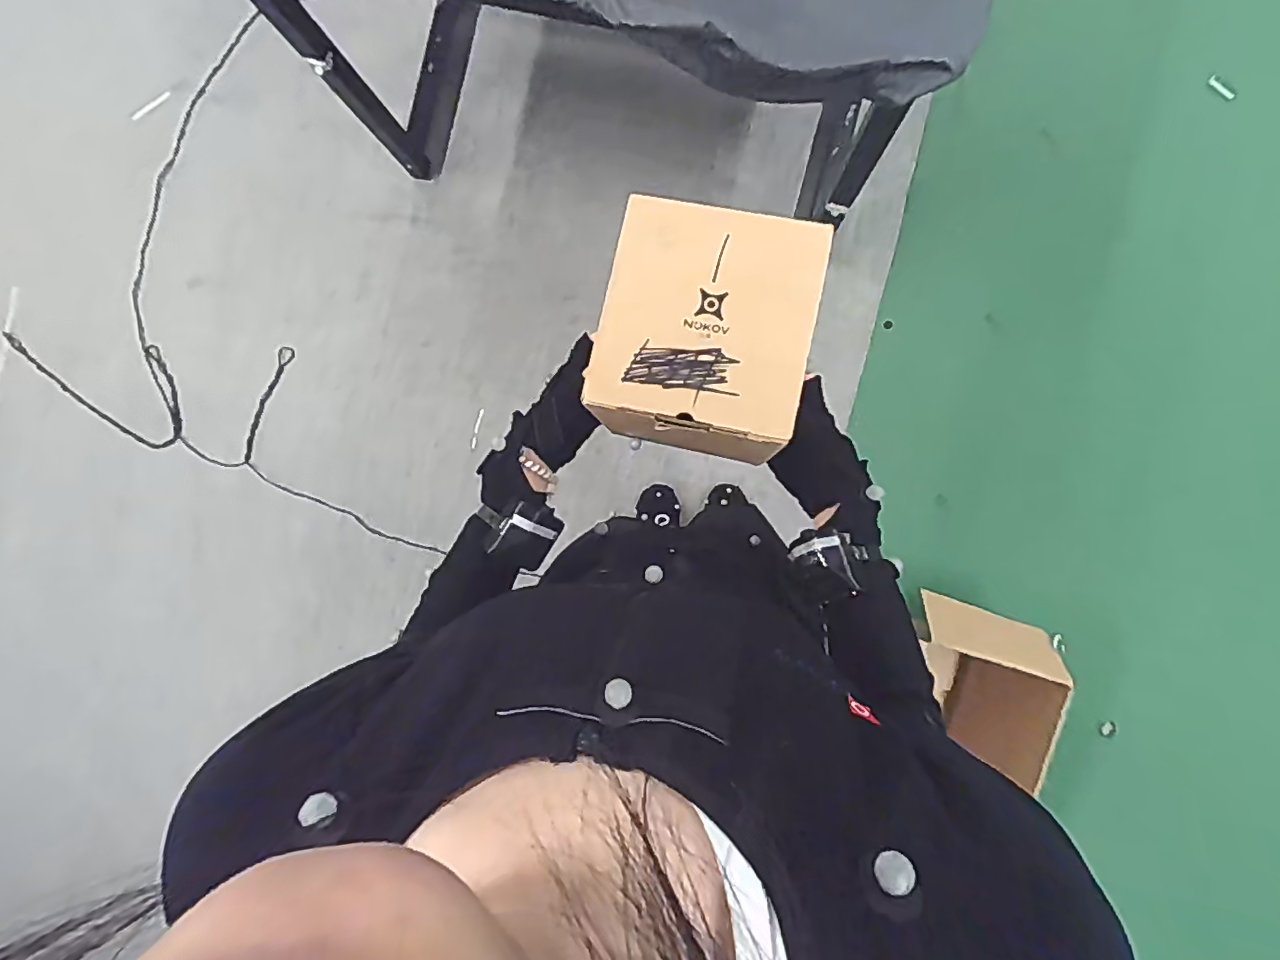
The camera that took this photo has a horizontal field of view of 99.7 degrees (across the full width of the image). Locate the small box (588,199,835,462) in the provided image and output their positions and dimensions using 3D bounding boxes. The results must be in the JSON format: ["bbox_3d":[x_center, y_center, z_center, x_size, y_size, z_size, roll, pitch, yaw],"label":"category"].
[{"bbox_3d":[0.062,-0.121,0.504,0.168,0.176,0.179,12,87,5],"label":"small box"}]
